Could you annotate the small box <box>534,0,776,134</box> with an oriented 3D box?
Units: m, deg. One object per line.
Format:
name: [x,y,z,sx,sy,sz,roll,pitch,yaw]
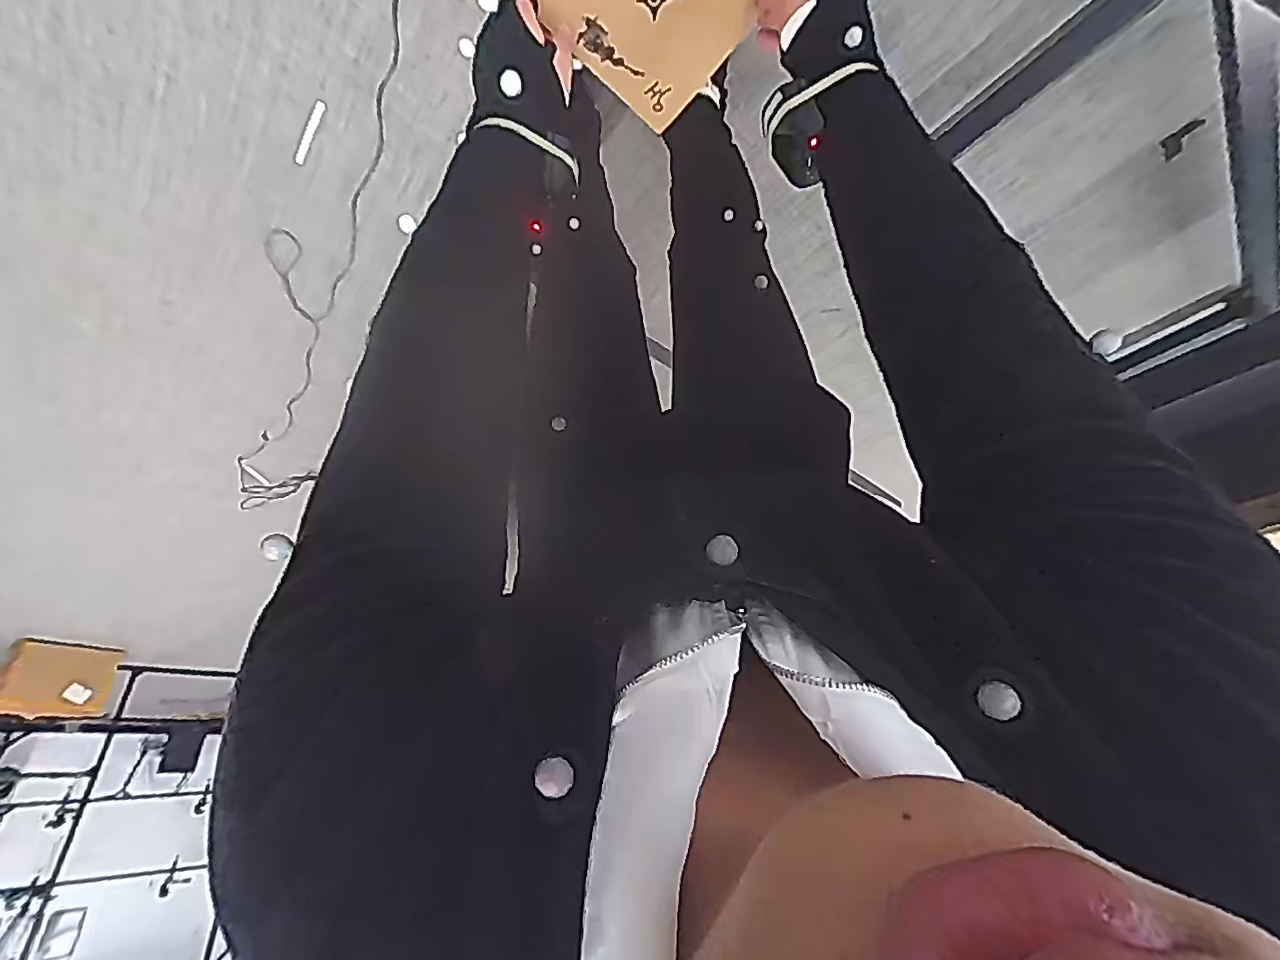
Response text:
small box: [0.011,-0.489,0.507,0.168,0.176,0.179,22,137,-38]
